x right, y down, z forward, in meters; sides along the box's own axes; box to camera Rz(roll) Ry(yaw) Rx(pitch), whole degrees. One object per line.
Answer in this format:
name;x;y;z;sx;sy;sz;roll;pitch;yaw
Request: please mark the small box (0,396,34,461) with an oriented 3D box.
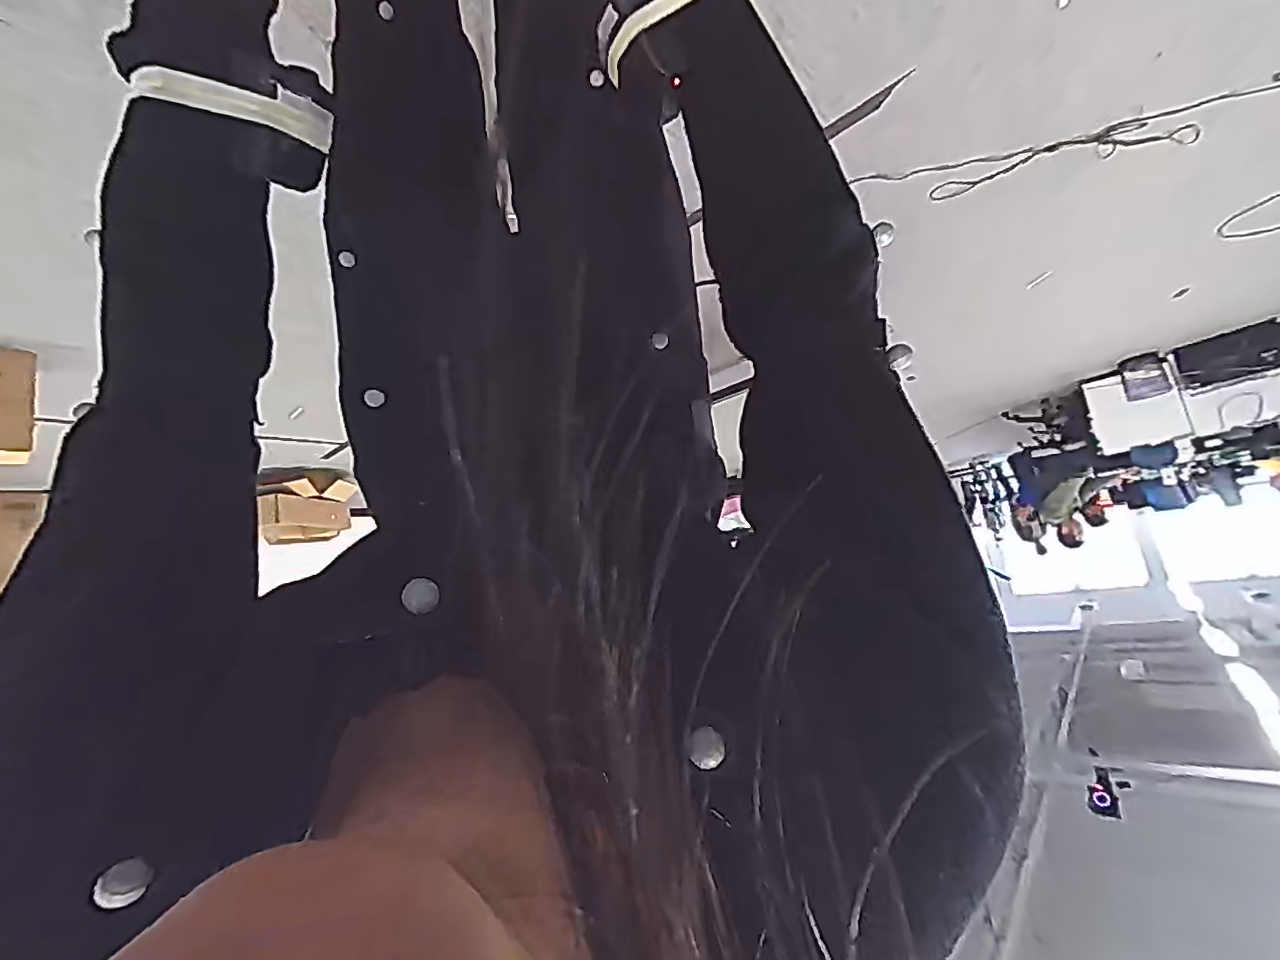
small box;-2.020;-0.165;1.672;0.168;0.176;0.179;-15;169;35
